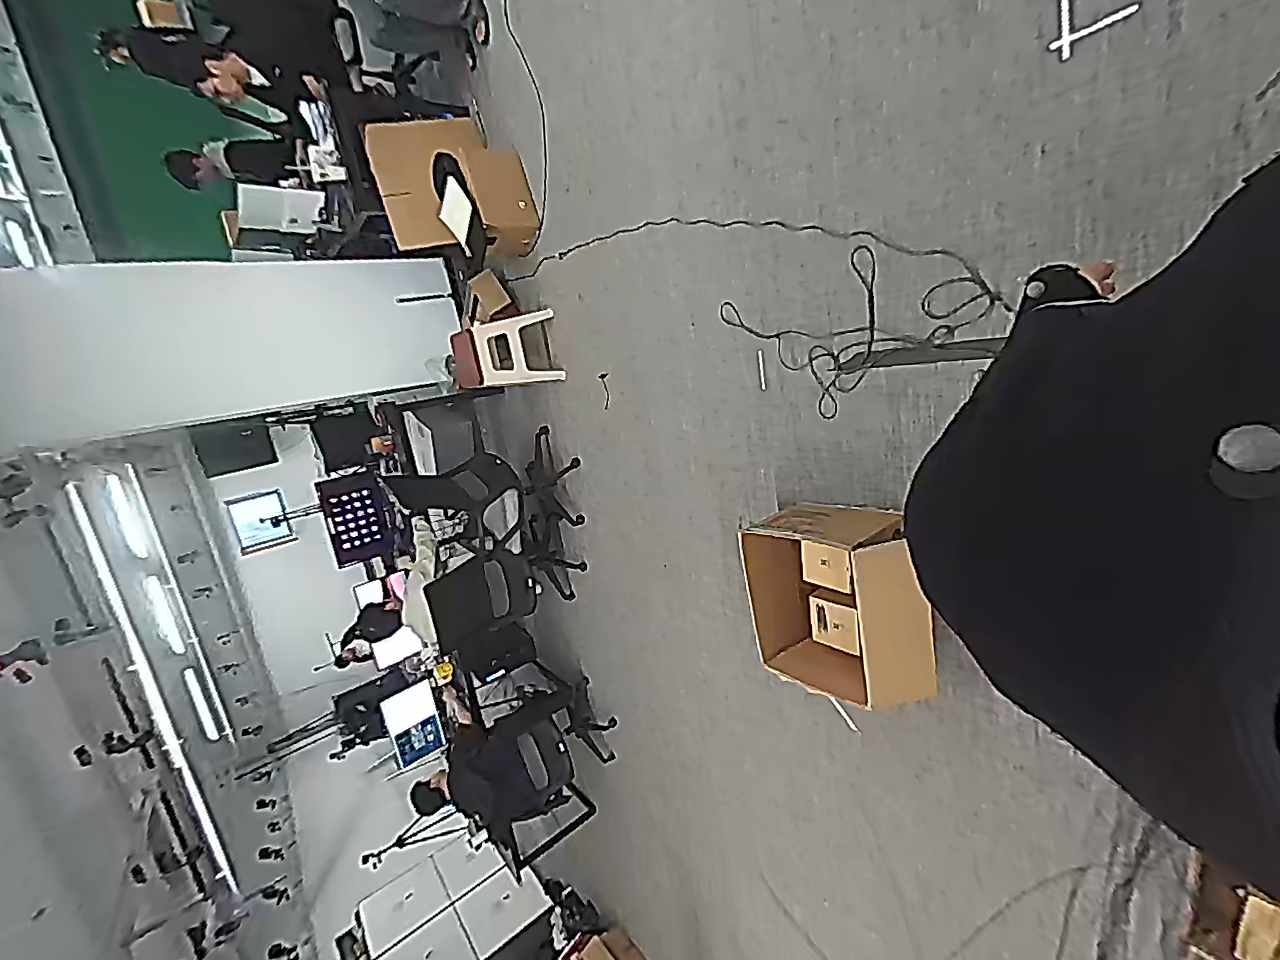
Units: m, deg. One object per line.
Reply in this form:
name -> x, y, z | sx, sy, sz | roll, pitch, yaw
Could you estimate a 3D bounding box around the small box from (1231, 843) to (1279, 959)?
small box -> 1.306, 0.872, 1.063 | 0.168, 0.176, 0.179 | 13, 114, 50
